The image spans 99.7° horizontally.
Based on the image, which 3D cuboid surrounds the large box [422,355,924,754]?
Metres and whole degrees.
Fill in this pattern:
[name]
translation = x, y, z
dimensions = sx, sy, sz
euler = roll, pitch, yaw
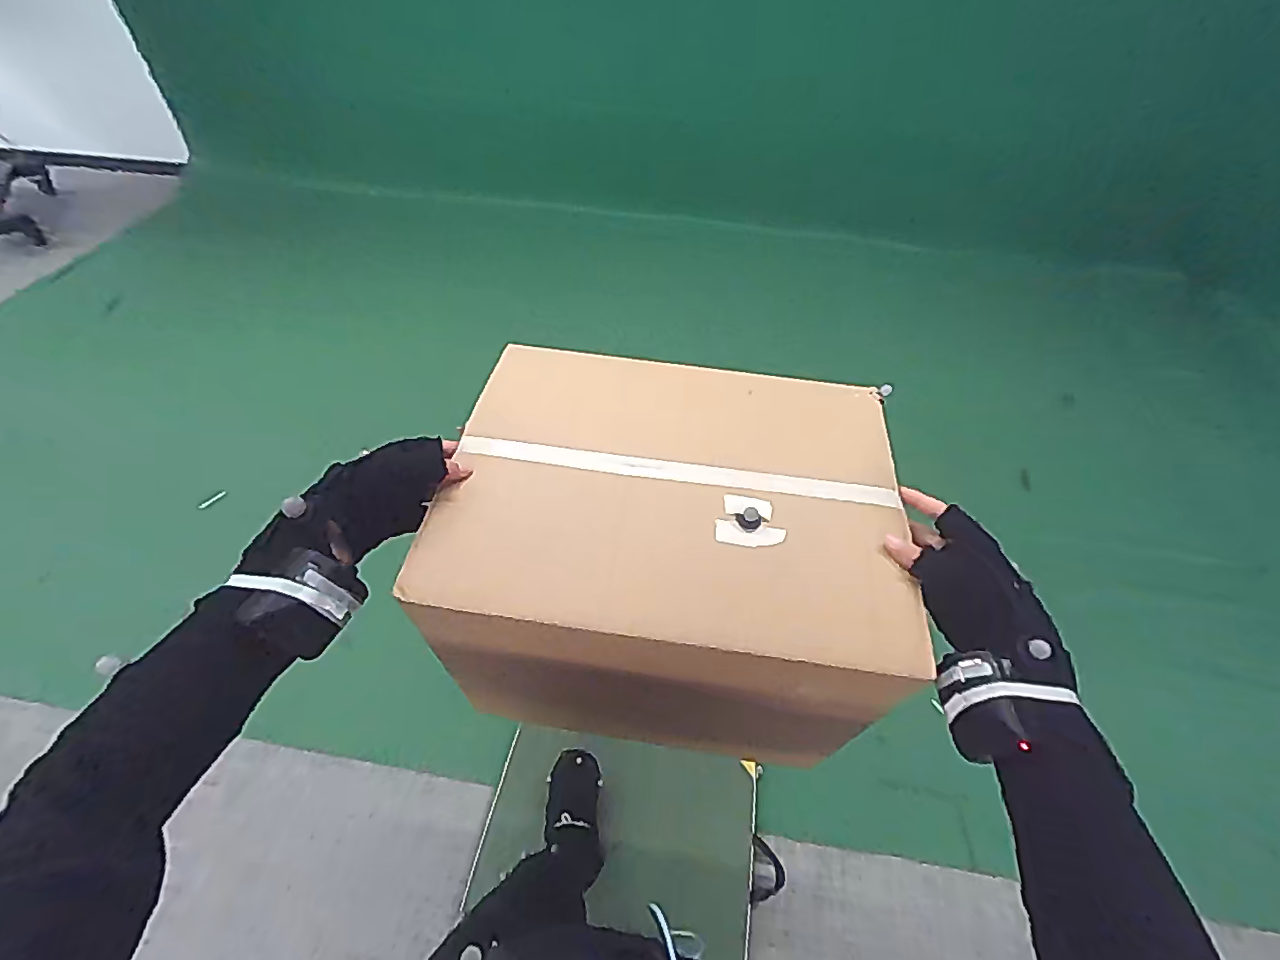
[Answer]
[large box]
translation = 0.031, 0.092, 0.626
dimensions = 0.408, 0.320, 0.320
euler = 8, 52, 2
